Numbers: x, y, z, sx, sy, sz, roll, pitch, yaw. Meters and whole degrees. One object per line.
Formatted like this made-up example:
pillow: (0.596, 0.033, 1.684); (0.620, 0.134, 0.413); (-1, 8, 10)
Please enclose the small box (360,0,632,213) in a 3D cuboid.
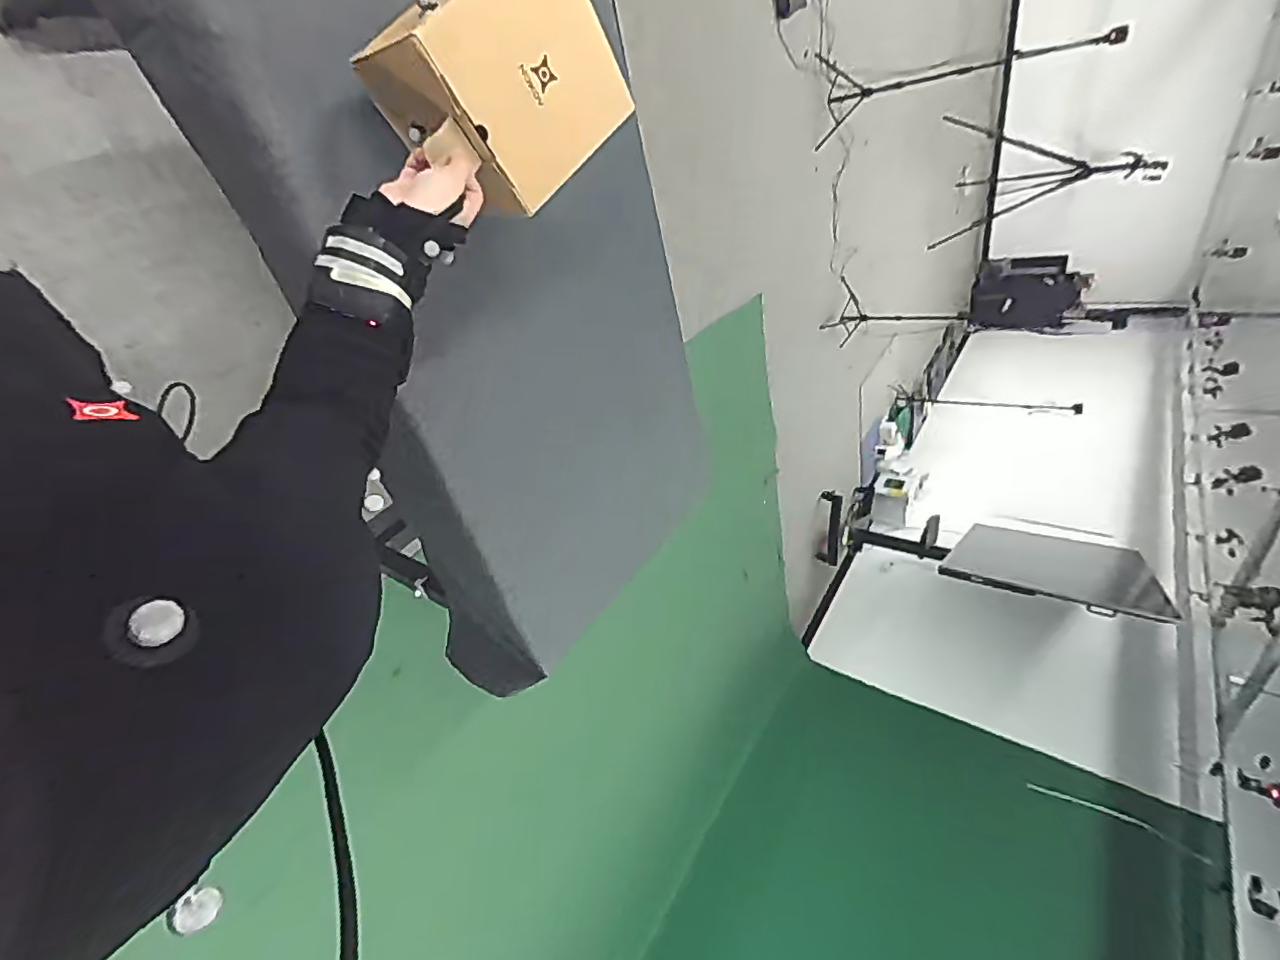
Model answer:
small box: (-0.147, -0.406, 0.554); (0.179, 0.176, 0.168); (-51, 139, -11)
